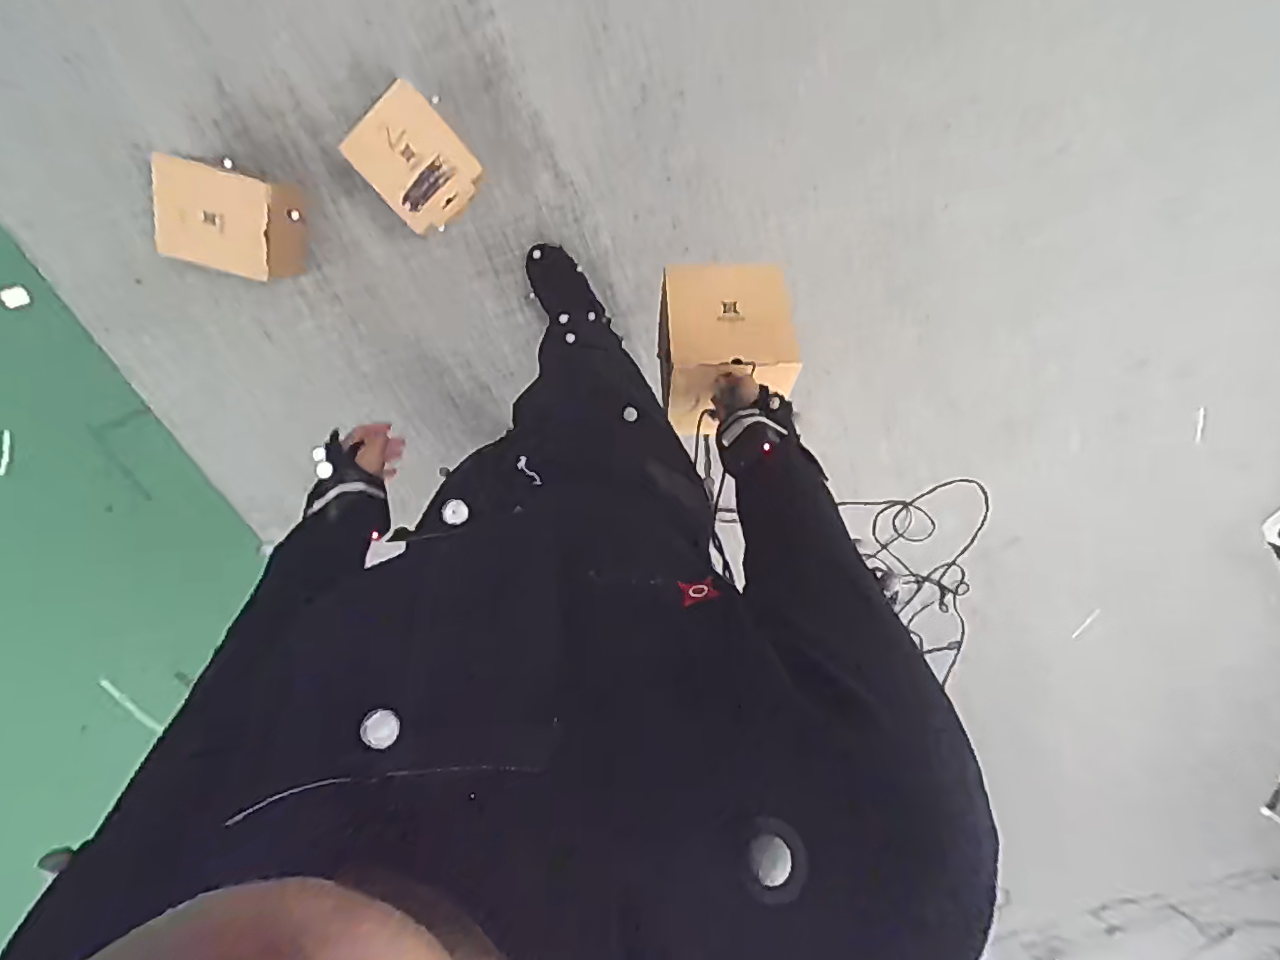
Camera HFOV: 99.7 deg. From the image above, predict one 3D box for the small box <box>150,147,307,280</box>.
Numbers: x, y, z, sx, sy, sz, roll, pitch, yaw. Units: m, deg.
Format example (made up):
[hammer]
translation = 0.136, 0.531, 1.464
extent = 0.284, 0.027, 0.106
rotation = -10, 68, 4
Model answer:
[small box]
translation = -0.734, -0.482, 0.986
extent = 0.179, 0.176, 0.168
rotation = 12, 113, -13
